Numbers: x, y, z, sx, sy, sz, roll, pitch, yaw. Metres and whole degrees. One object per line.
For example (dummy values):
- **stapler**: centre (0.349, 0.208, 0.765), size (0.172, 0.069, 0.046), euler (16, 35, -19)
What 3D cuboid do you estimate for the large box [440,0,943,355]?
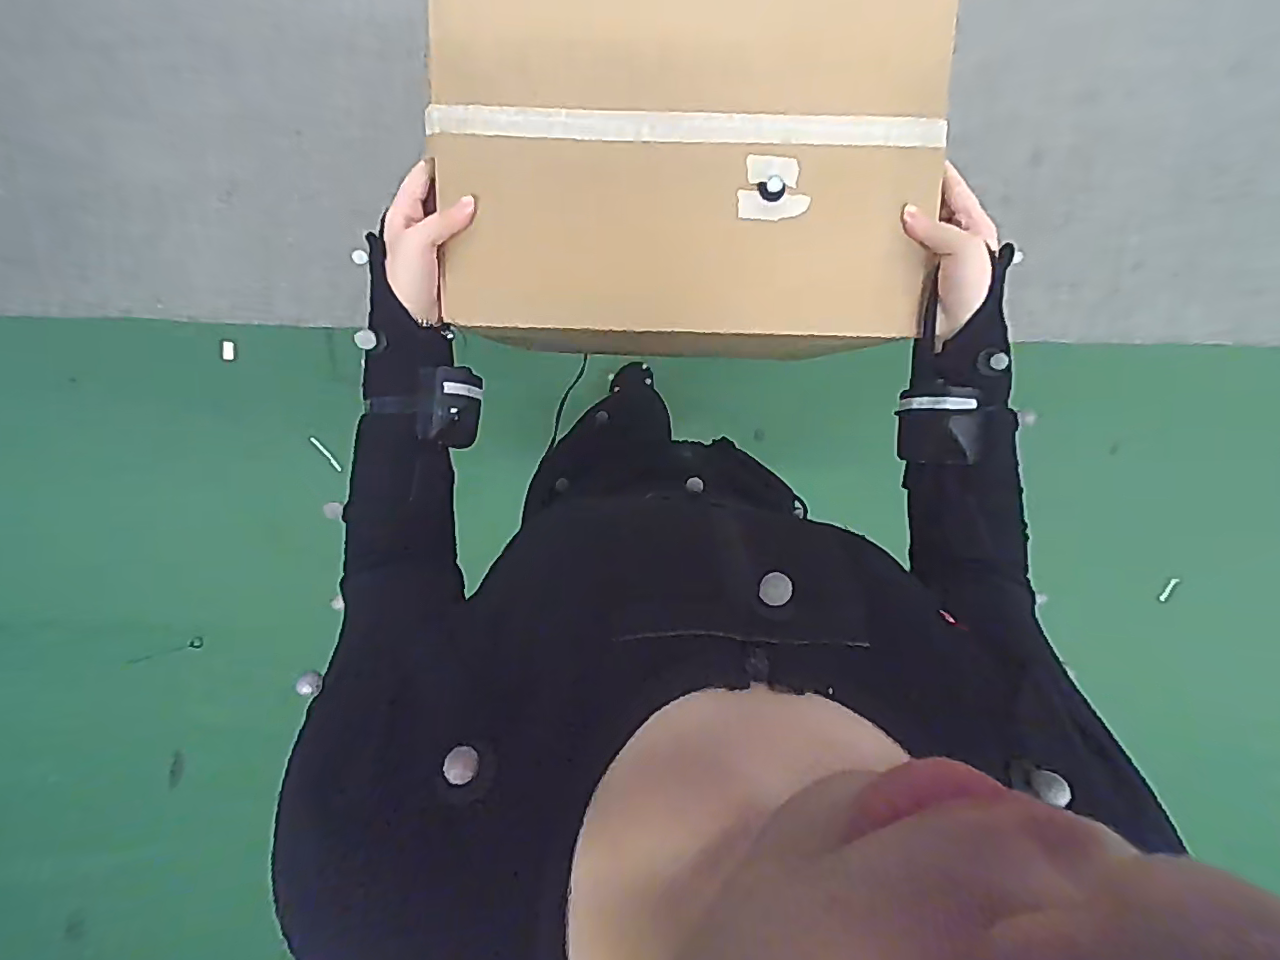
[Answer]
- **large box**: centre (0.035, -0.306, 0.585), size (0.408, 0.320, 0.320), euler (1, 100, -2)
